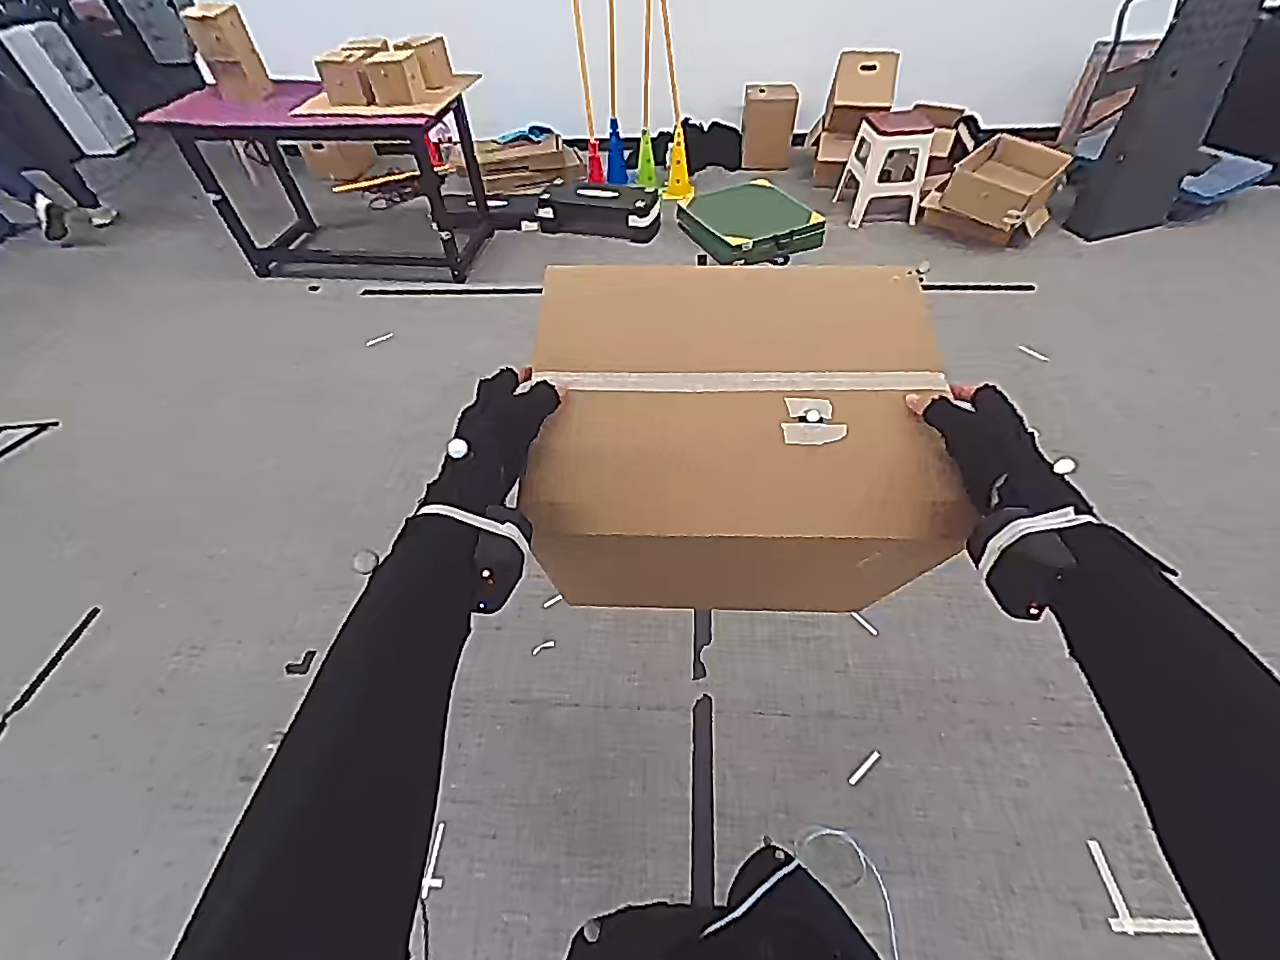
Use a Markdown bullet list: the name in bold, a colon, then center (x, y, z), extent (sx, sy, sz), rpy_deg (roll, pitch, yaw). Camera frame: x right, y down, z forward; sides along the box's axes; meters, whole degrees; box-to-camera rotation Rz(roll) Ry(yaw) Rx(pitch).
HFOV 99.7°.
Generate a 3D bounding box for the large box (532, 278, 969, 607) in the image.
- **large box**: center (0.101, -0.026, 0.683), extent (0.408, 0.320, 0.320), rpy_deg (1, 65, 2)
